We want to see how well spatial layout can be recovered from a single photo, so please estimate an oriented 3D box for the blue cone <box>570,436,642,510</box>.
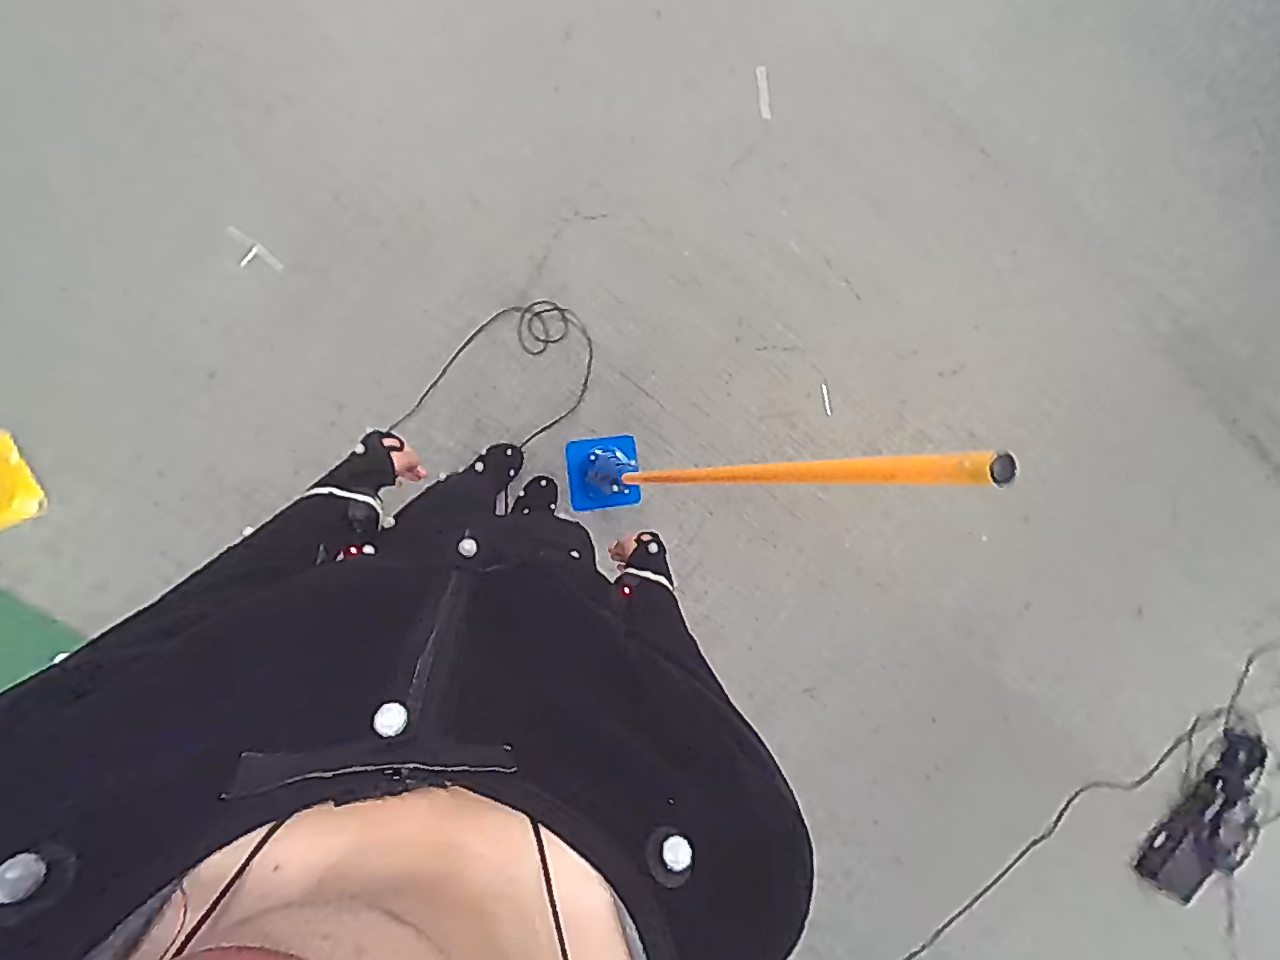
[{"bbox_3d":[-0.057,-0.012,1.333,0.193,0.380,0.192,-8,95,-13],"label":"blue cone"}]
